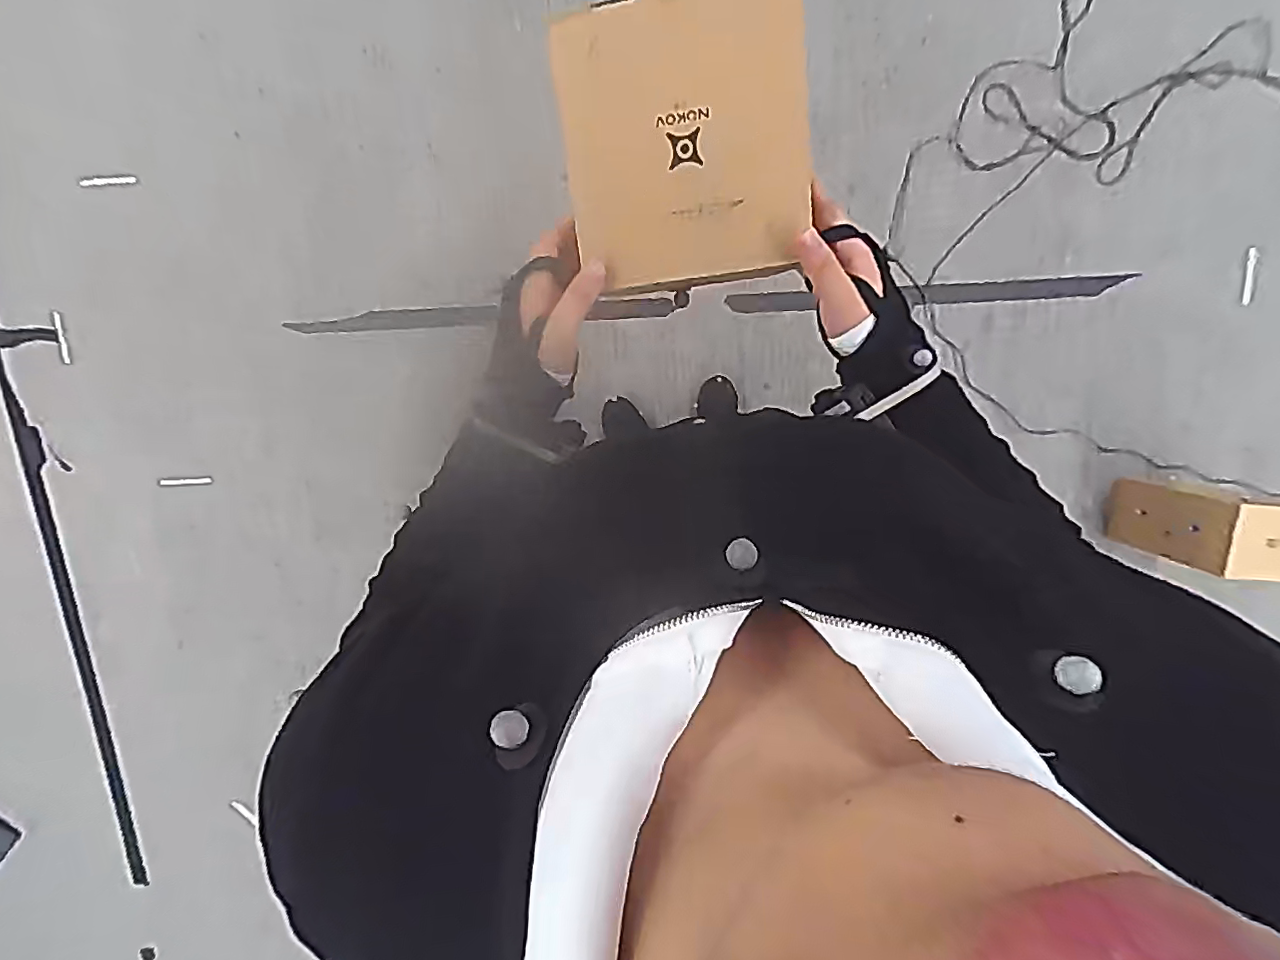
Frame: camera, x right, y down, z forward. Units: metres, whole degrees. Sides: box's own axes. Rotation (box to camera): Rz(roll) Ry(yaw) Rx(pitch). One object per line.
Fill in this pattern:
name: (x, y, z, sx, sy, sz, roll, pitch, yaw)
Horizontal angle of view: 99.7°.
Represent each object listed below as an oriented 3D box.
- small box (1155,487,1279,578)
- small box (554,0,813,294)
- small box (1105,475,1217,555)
small box: (1.336, 0.114, 1.225, 0.179, 0.176, 0.168, 2, 101, 1)
small box: (0.037, -0.255, 0.441, 0.168, 0.176, 0.179, -6, 107, 6)
small box: (1.352, 0.091, 1.388, 0.168, 0.176, 0.179, 5, 100, 1)
